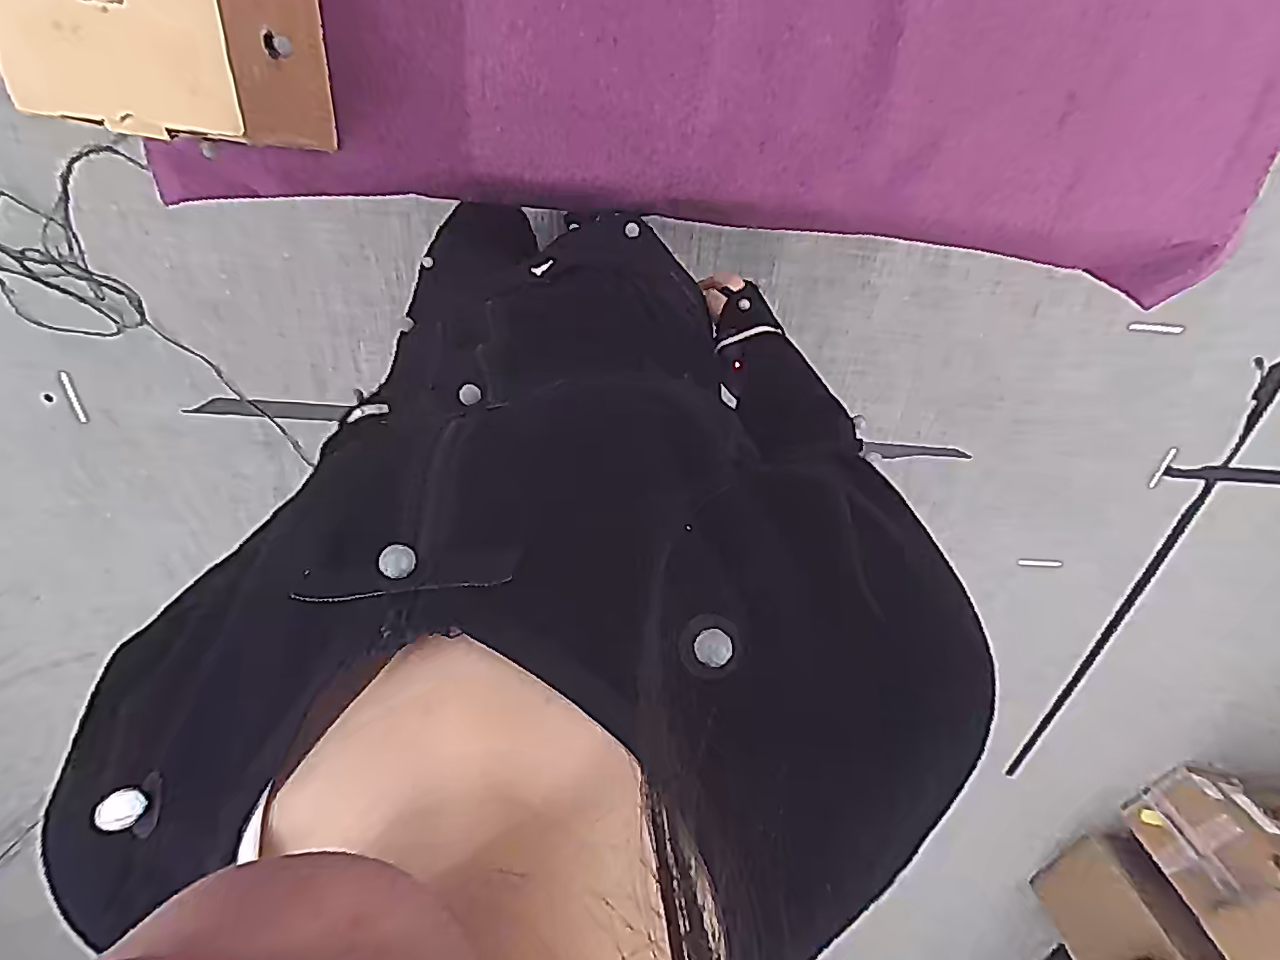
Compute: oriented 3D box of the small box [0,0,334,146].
[{"bbox_3d":[-0.379,-0.386,0.443,0.168,0.176,0.179,4,119,-6],"label":"small box"}]
